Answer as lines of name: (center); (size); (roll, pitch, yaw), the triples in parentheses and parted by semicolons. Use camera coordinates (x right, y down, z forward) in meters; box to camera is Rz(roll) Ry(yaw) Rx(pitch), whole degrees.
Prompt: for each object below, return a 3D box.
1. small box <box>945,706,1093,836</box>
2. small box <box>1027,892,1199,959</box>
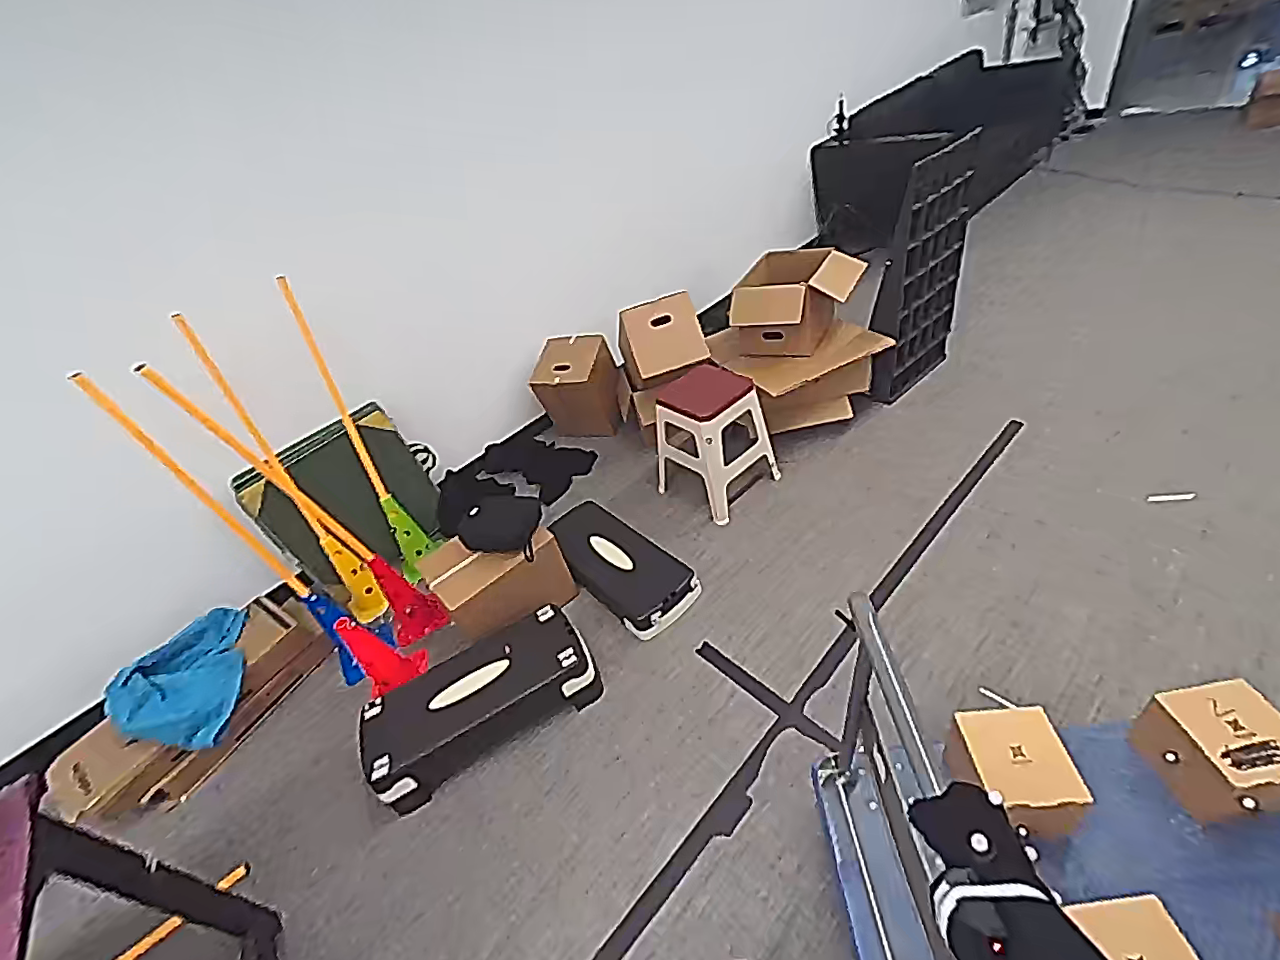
small box: (0.725, 0.572, 1.064); (0.168, 0.176, 0.179); (-8, 40, 9)
small box: (0.734, 0.765, 0.822); (0.168, 0.176, 0.179); (-12, 38, 5)
